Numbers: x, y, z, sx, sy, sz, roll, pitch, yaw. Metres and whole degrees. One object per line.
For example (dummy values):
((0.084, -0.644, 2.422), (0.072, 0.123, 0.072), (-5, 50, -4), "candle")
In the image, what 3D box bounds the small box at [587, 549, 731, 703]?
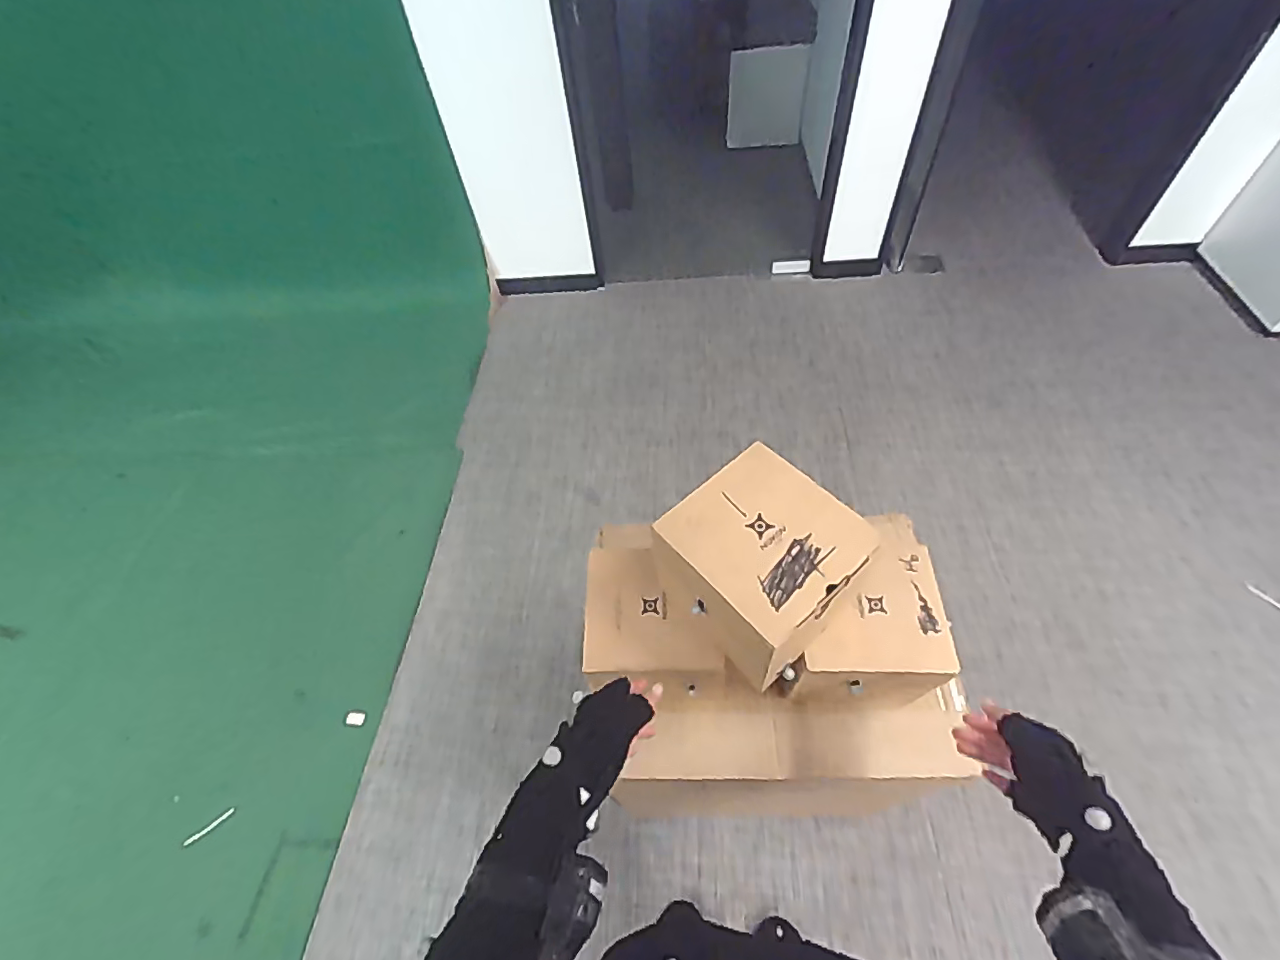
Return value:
((0.029, 0.208, 0.759), (0.179, 0.176, 0.168), (-4, 54, 4), "small box")

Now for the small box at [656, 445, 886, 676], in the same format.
((0.139, 0.101, 0.622), (0.168, 0.176, 0.179), (-36, 59, -18), "small box")
